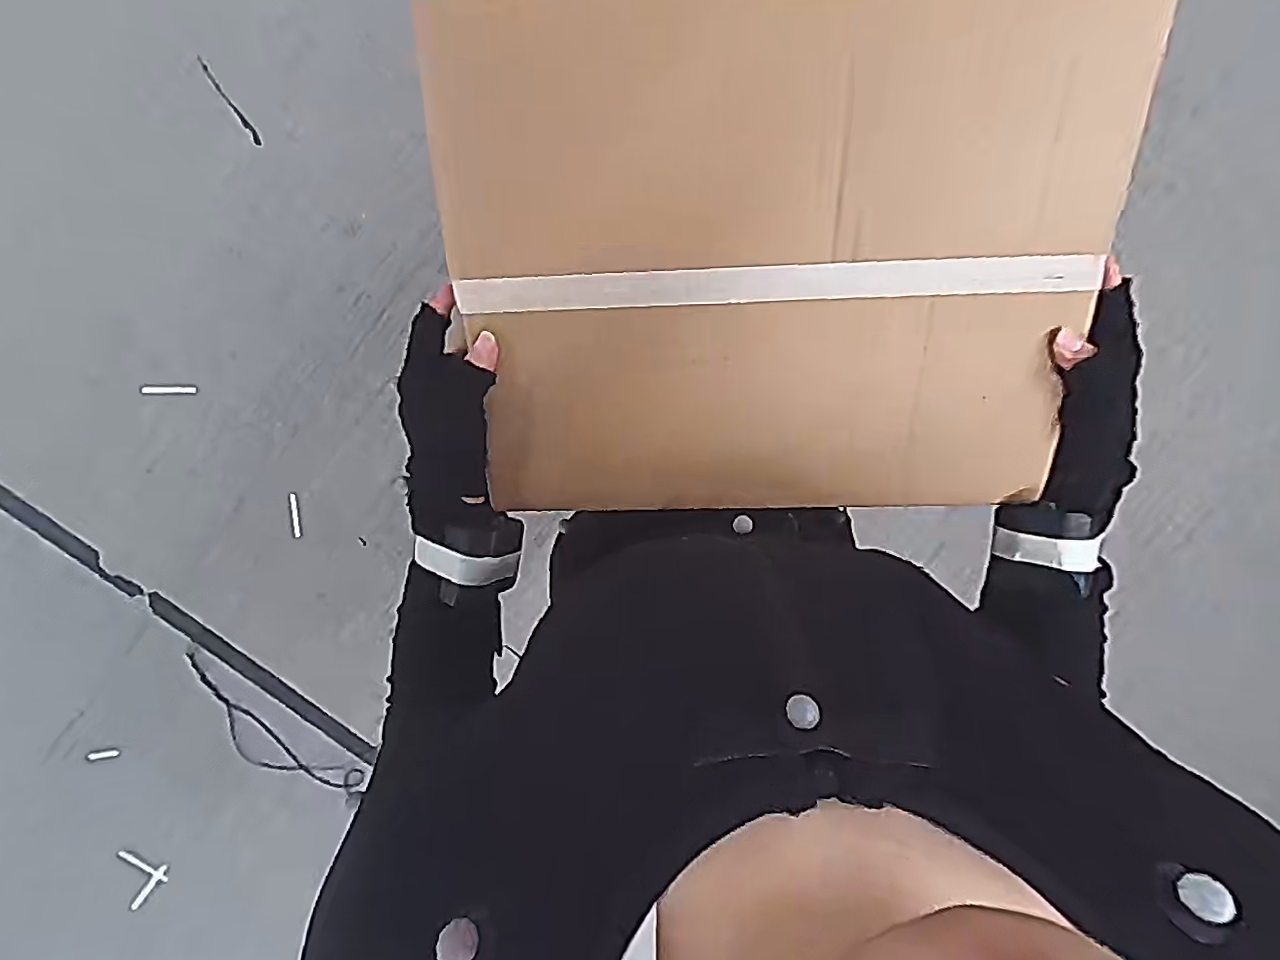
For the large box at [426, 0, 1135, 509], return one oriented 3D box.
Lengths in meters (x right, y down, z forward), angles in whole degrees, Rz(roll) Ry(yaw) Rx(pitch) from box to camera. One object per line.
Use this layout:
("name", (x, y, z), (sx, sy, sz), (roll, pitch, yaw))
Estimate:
("large box", (0.083, -0.184, 0.495), (0.408, 0.320, 0.320), (-2, 114, 2))
